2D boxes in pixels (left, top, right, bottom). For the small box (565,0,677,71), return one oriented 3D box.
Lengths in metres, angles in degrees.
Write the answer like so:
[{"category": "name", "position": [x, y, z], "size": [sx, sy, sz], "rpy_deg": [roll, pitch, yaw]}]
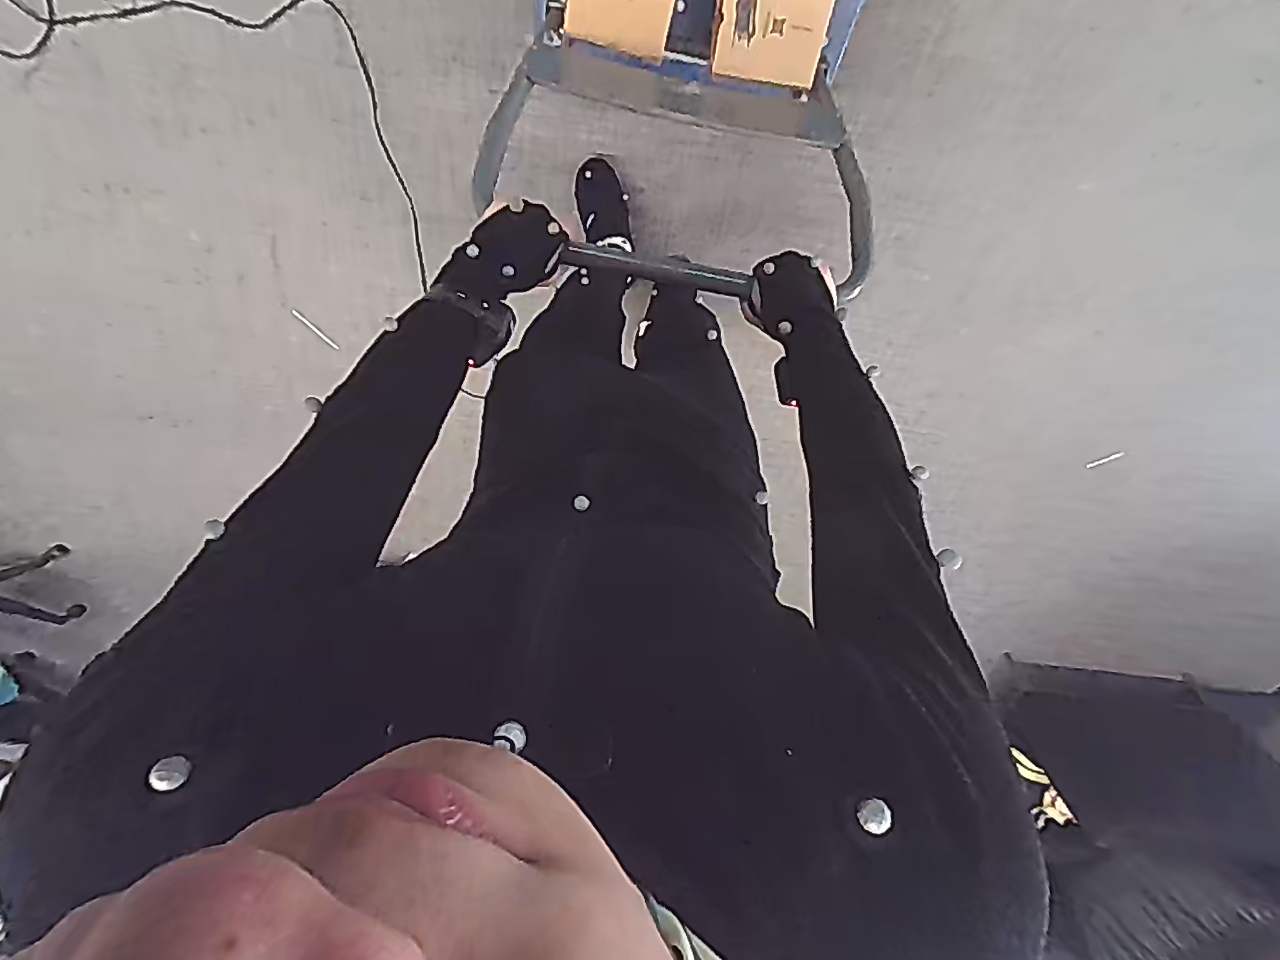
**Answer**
[{"category": "small box", "position": [-0.020, -0.818, 0.883], "size": [0.168, 0.176, 0.179], "rpy_deg": [12, 140, -9]}]
